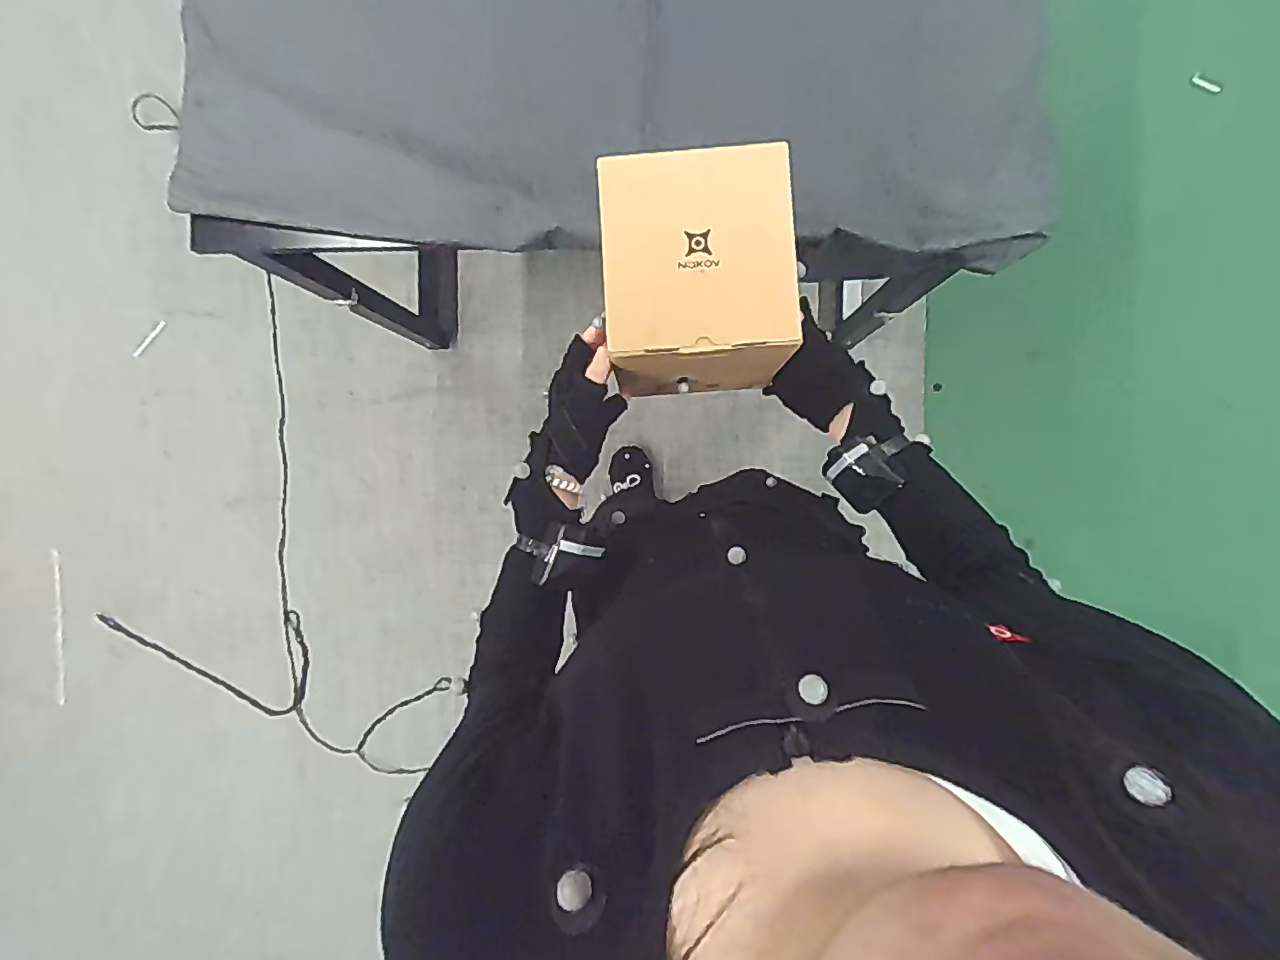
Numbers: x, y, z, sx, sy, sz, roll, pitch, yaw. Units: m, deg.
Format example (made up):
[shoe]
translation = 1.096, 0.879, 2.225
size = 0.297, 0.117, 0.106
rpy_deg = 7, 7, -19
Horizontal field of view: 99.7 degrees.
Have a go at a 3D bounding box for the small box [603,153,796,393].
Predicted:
[small box]
translation = 0.052, -0.196, 0.554
size = 0.168, 0.176, 0.179
rpy_deg = -3, 88, 2
